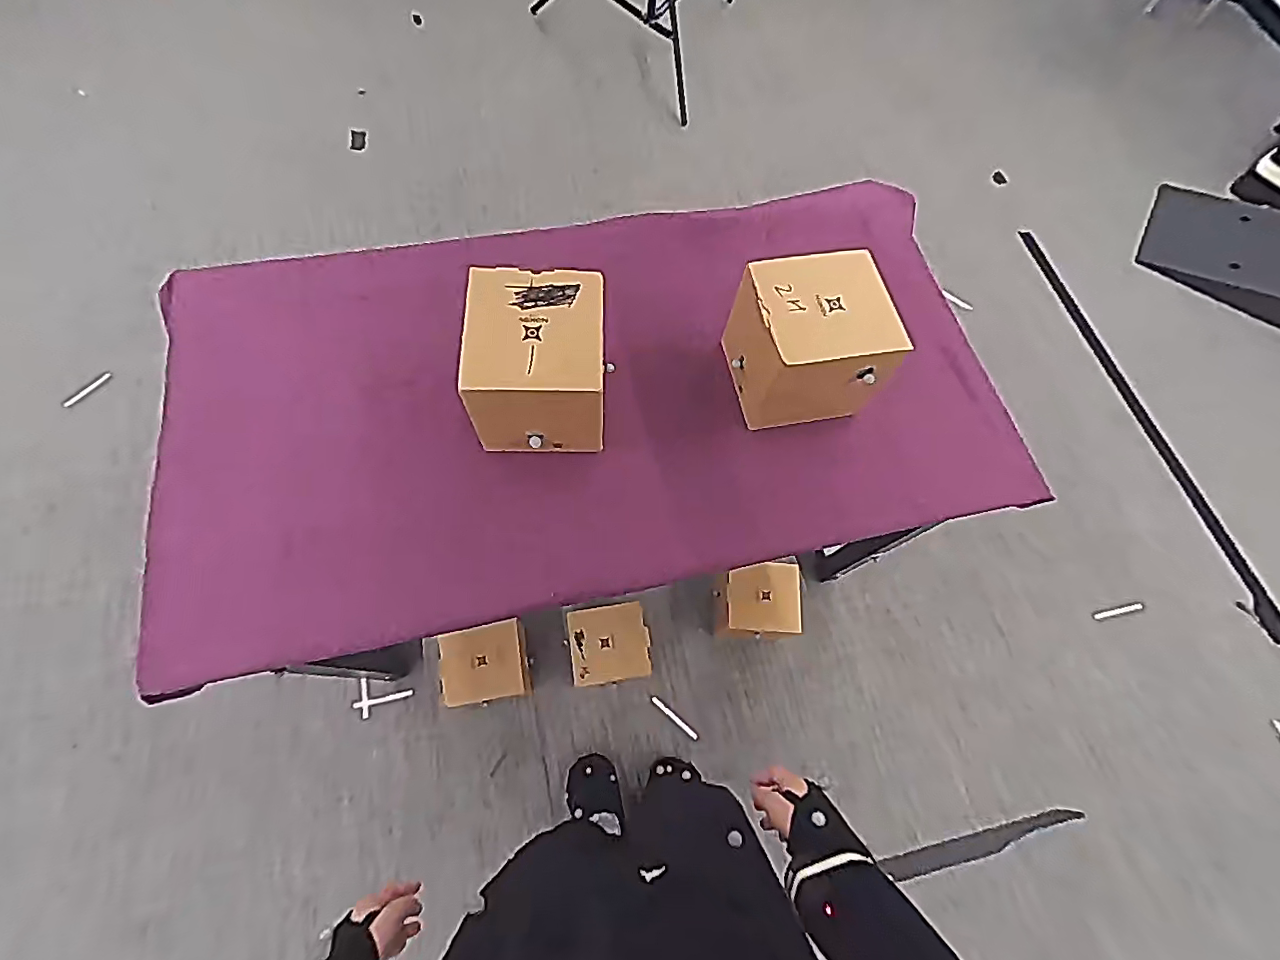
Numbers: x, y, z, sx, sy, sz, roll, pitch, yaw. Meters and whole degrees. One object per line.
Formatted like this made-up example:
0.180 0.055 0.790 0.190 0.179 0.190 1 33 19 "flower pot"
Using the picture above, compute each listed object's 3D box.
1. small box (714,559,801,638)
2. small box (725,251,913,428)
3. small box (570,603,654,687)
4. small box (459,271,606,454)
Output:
0.290 0.301 1.355 0.179 0.176 0.168 5 68 -1 "small box"
0.235 -0.190 0.759 0.179 0.176 0.168 -9 68 -7 "small box"
-0.072 0.395 1.292 0.179 0.176 0.168 -7 69 -7 "small box"
-0.130 -0.149 0.718 0.168 0.176 0.179 0 69 -4 "small box"
